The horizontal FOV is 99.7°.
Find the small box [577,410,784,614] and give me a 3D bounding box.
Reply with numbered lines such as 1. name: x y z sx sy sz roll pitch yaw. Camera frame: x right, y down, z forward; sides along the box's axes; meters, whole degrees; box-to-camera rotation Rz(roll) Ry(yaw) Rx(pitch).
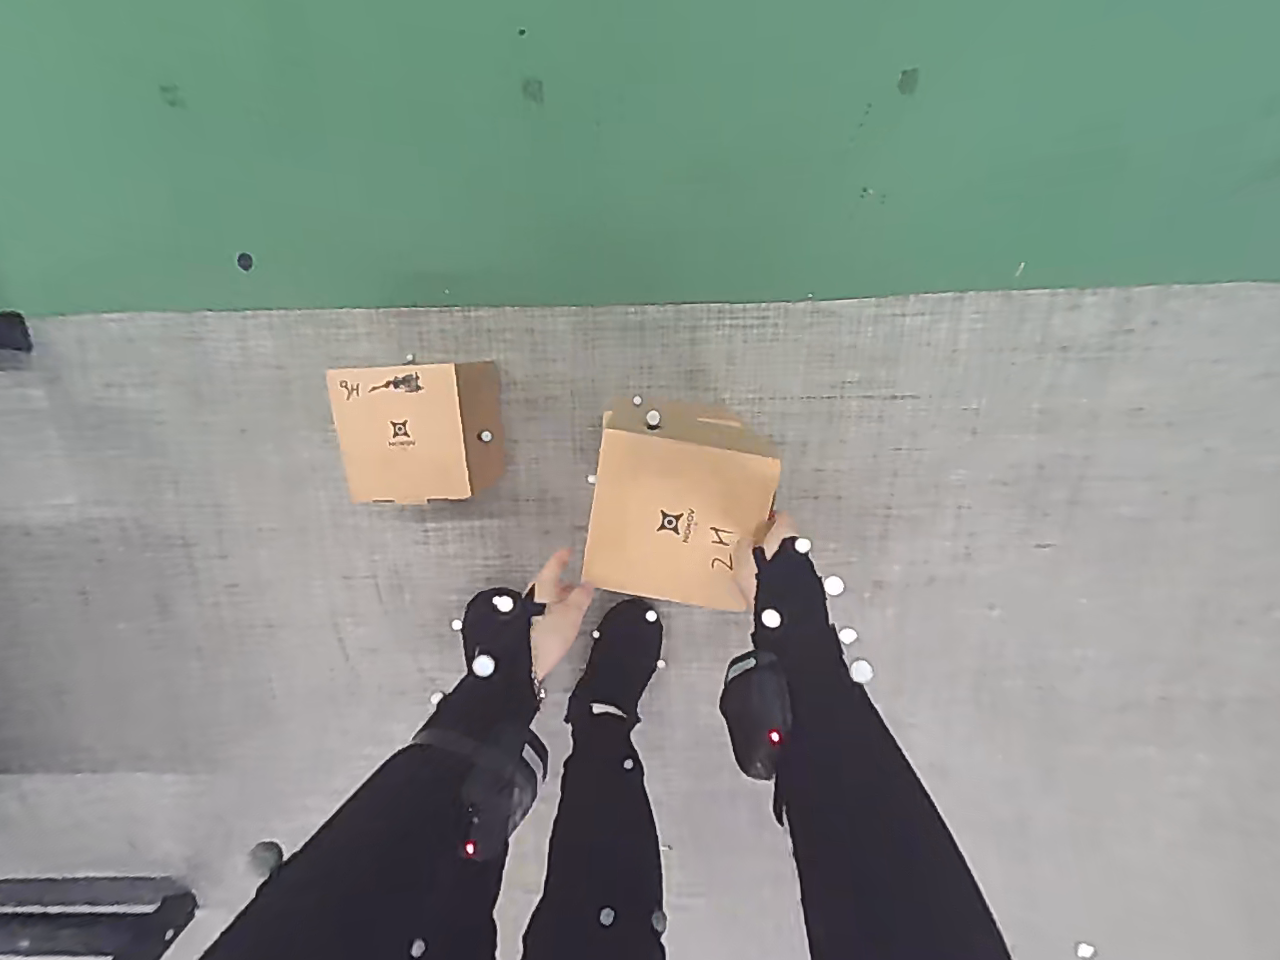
1. small box: 0.038 0.022 0.597 0.179 0.176 0.168 10 105 -1

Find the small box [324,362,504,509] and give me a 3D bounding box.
1. small box: -0.298 -0.069 0.756 0.168 0.176 0.179 -3 104 3
